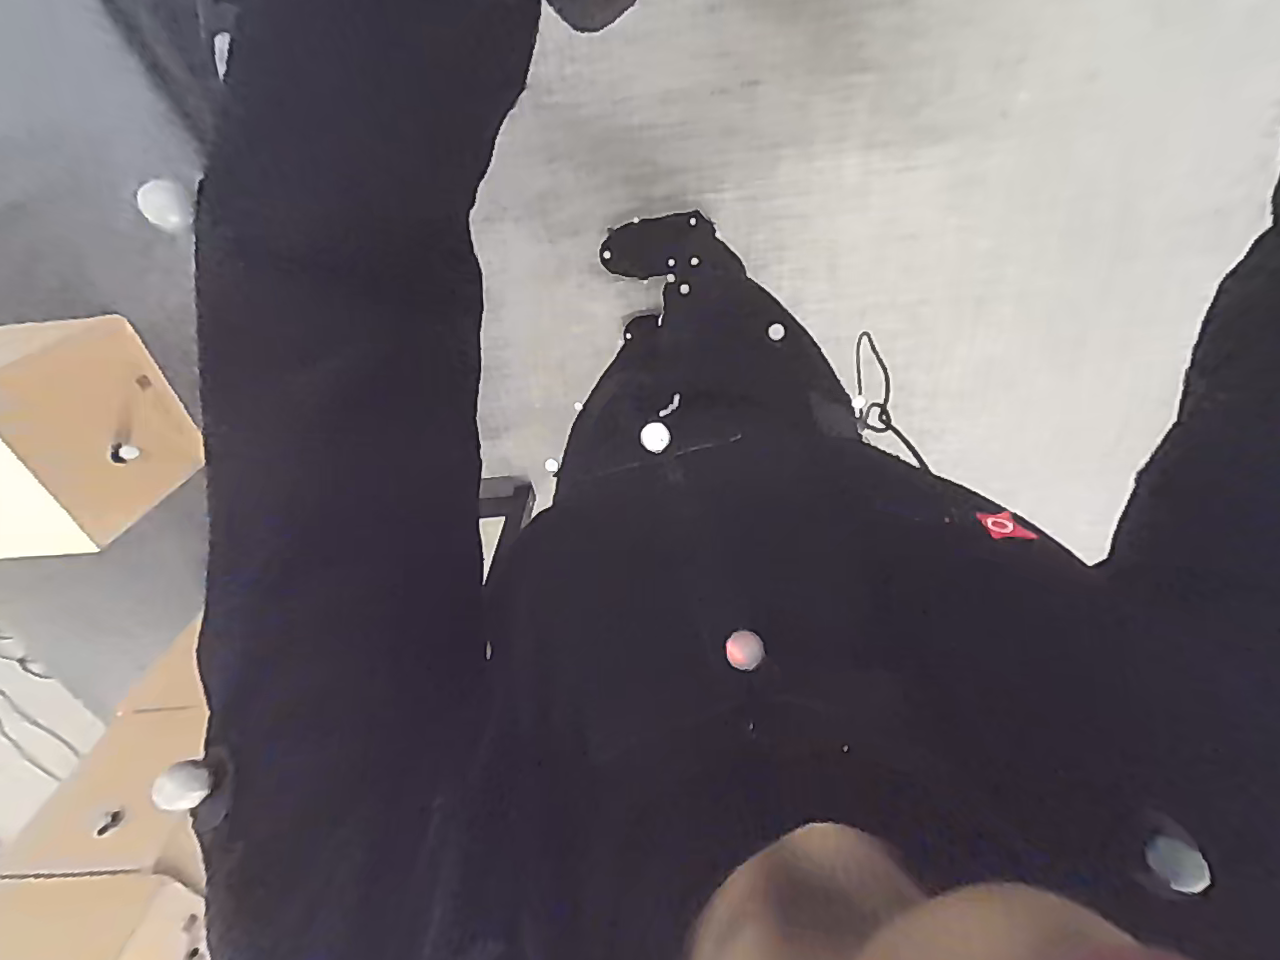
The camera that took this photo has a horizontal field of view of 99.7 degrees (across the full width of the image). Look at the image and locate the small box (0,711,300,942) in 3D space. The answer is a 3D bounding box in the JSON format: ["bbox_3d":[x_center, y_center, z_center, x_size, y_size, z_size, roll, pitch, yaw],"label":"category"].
[{"bbox_3d":[-0.518,0.376,0.598,0.179,0.176,0.168,-5,124,4],"label":"small box"}]

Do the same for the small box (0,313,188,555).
[{"bbox_3d":[-0.580,-0.047,0.504,0.179,0.176,0.168,-4,125,3],"label":"small box"}]
